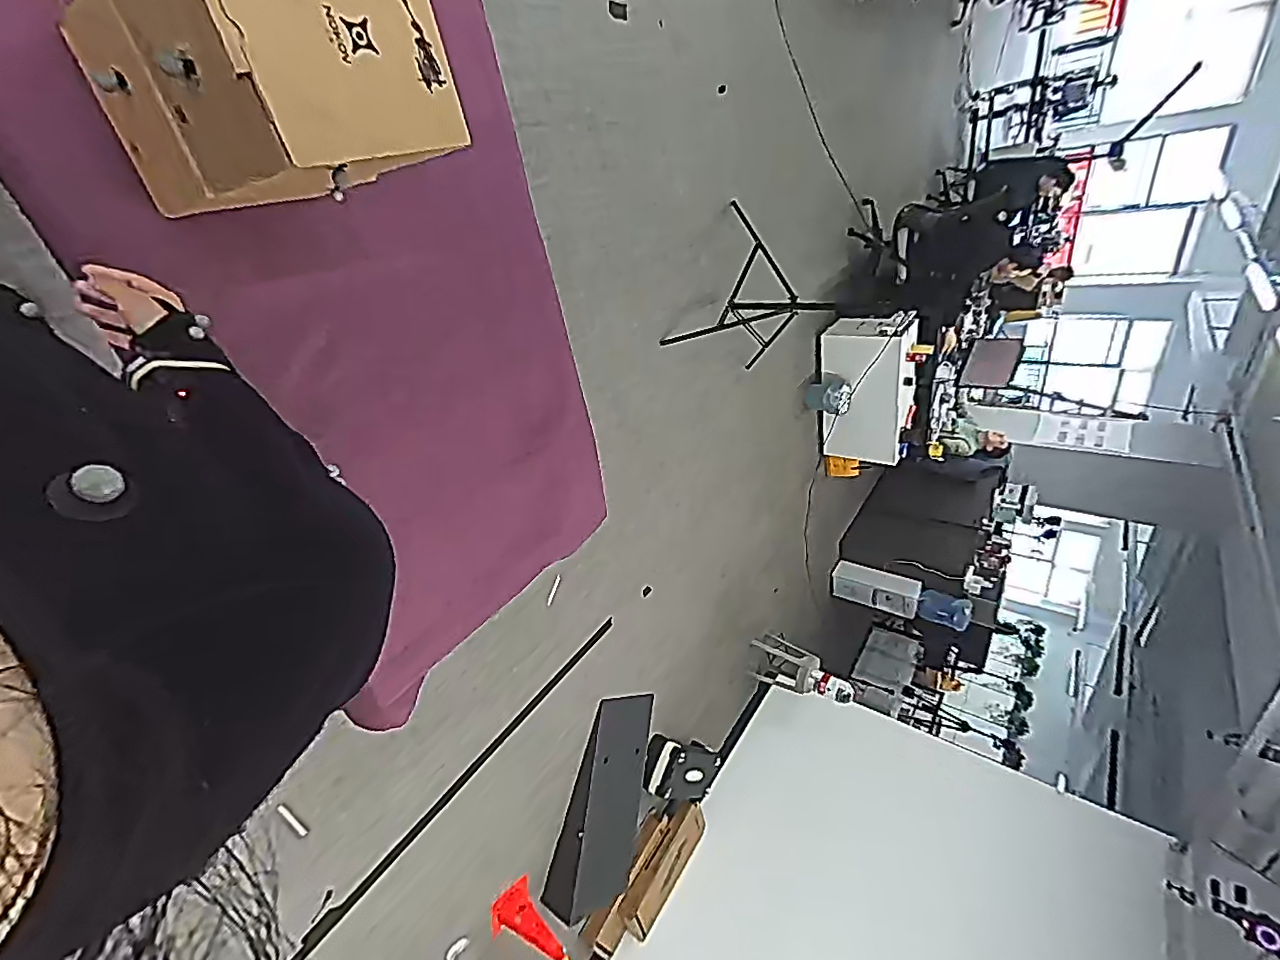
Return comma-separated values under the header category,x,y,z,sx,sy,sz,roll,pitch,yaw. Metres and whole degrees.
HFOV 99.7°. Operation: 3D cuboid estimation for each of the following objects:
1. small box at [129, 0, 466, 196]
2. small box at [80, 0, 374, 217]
category,x,y,z,sx,sy,sz,roll,pitch,yaw
small box,-0.294,-0.359,0.472,0.179,0.176,0.168,-41,131,-39
small box,-0.427,-0.383,0.565,0.179,0.176,0.168,-40,131,-41
